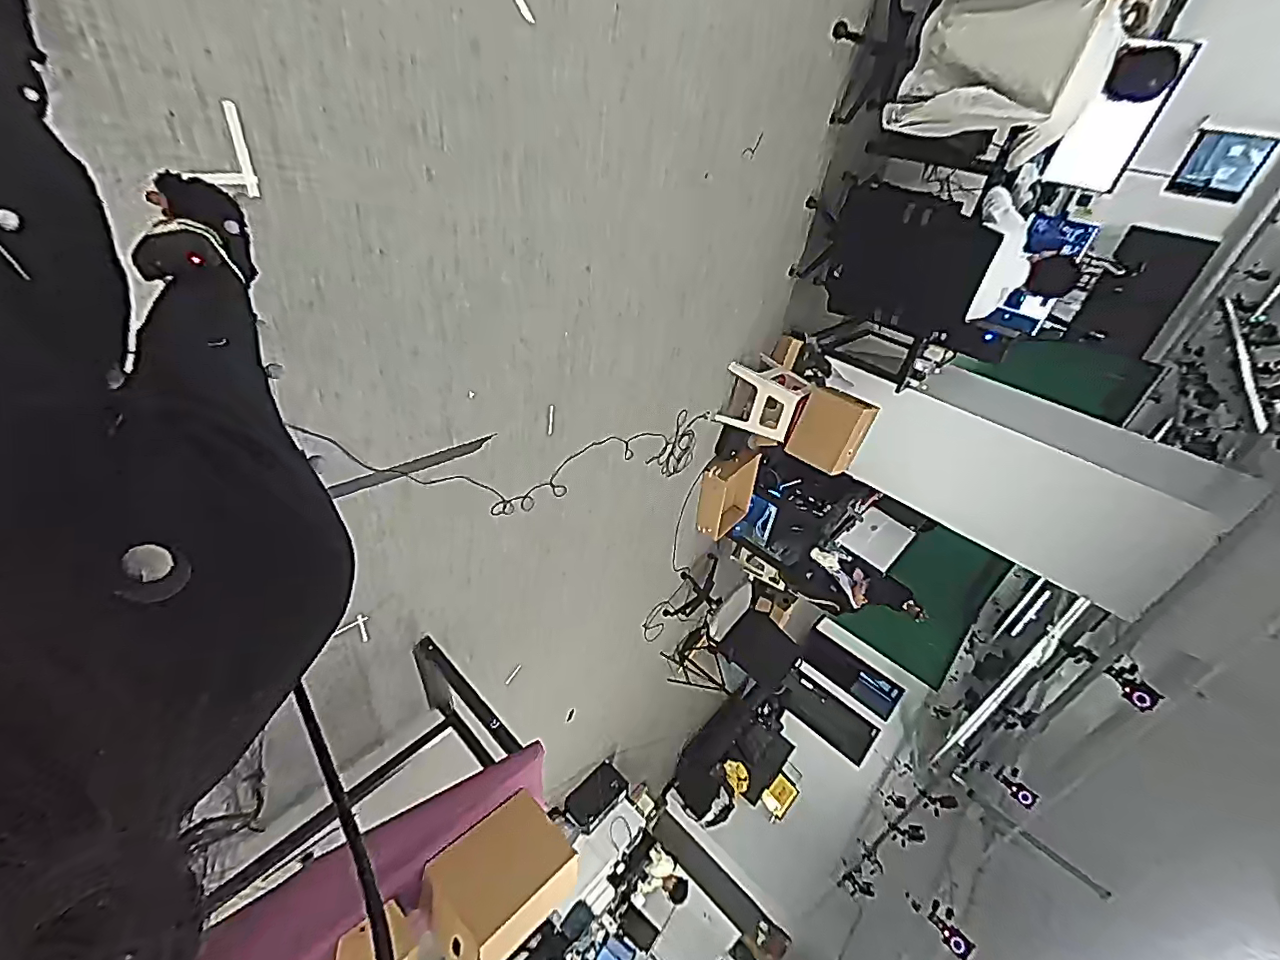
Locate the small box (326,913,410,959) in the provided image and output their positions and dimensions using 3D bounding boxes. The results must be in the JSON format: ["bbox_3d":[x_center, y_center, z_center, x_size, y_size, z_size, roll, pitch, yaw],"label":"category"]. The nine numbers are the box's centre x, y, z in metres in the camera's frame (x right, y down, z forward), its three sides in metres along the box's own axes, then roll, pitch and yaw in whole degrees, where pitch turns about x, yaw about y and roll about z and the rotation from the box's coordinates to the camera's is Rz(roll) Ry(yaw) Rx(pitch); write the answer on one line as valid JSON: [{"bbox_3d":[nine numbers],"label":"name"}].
[{"bbox_3d":[-0.809,1.443,1.593,0.168,0.176,0.179,-13,129,-51],"label":"small box"}]
